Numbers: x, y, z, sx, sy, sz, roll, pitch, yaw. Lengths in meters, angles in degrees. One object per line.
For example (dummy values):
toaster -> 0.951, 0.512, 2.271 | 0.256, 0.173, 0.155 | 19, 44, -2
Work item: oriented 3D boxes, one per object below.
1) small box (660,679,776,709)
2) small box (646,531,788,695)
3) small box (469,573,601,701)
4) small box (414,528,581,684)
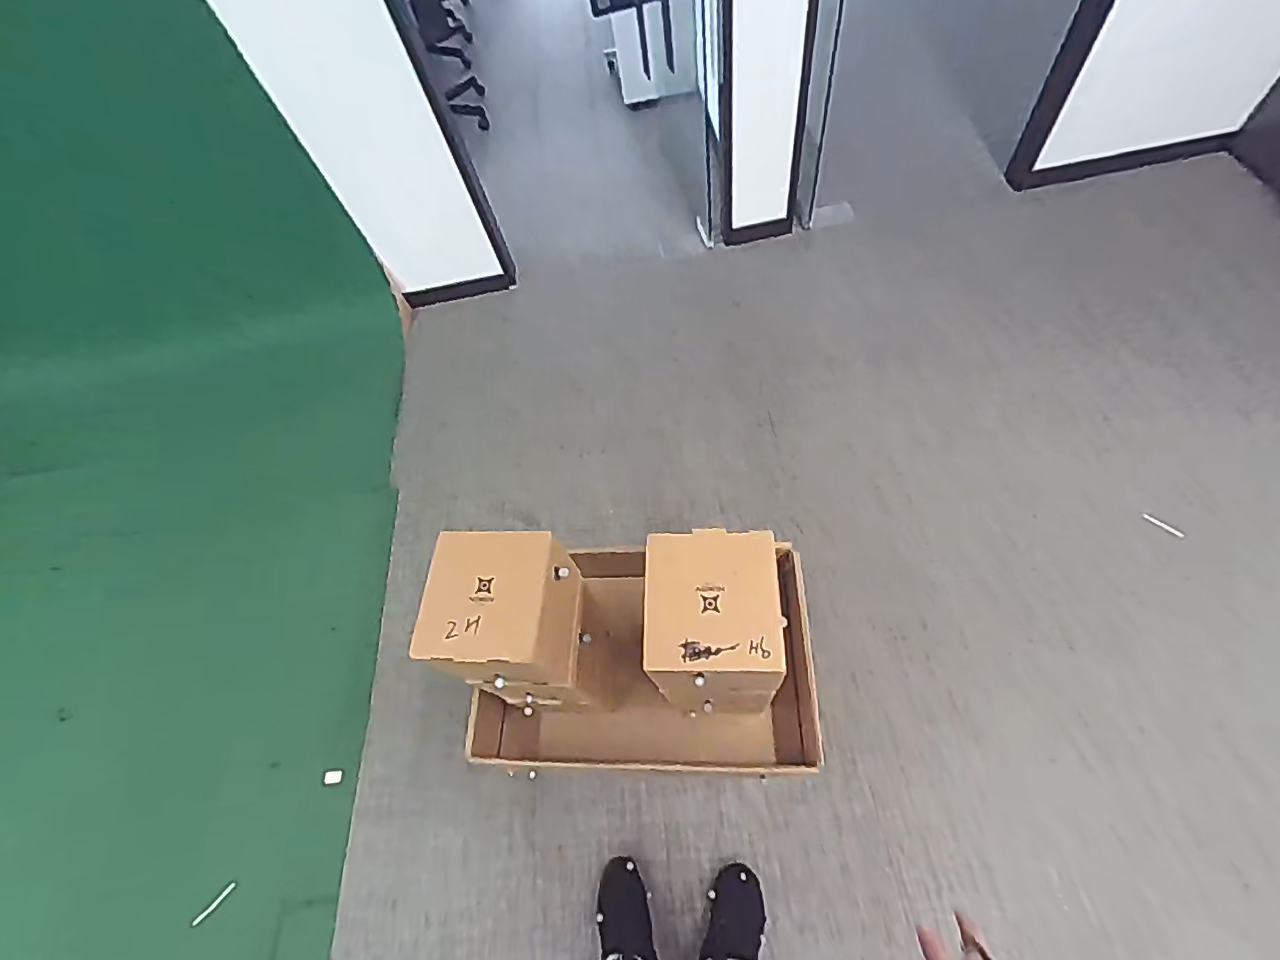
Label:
small box -> 0.125, 0.262, 0.872 | 0.168, 0.176, 0.179 | -1, 62, 9
small box -> 0.104, 0.182, 0.730 | 0.168, 0.176, 0.179 | -2, 61, 9
small box -> -0.165, 0.267, 0.918 | 0.168, 0.176, 0.179 | -1, 61, 9
small box -> -0.188, 0.184, 0.777 | 0.168, 0.176, 0.179 | 0, 61, 9
